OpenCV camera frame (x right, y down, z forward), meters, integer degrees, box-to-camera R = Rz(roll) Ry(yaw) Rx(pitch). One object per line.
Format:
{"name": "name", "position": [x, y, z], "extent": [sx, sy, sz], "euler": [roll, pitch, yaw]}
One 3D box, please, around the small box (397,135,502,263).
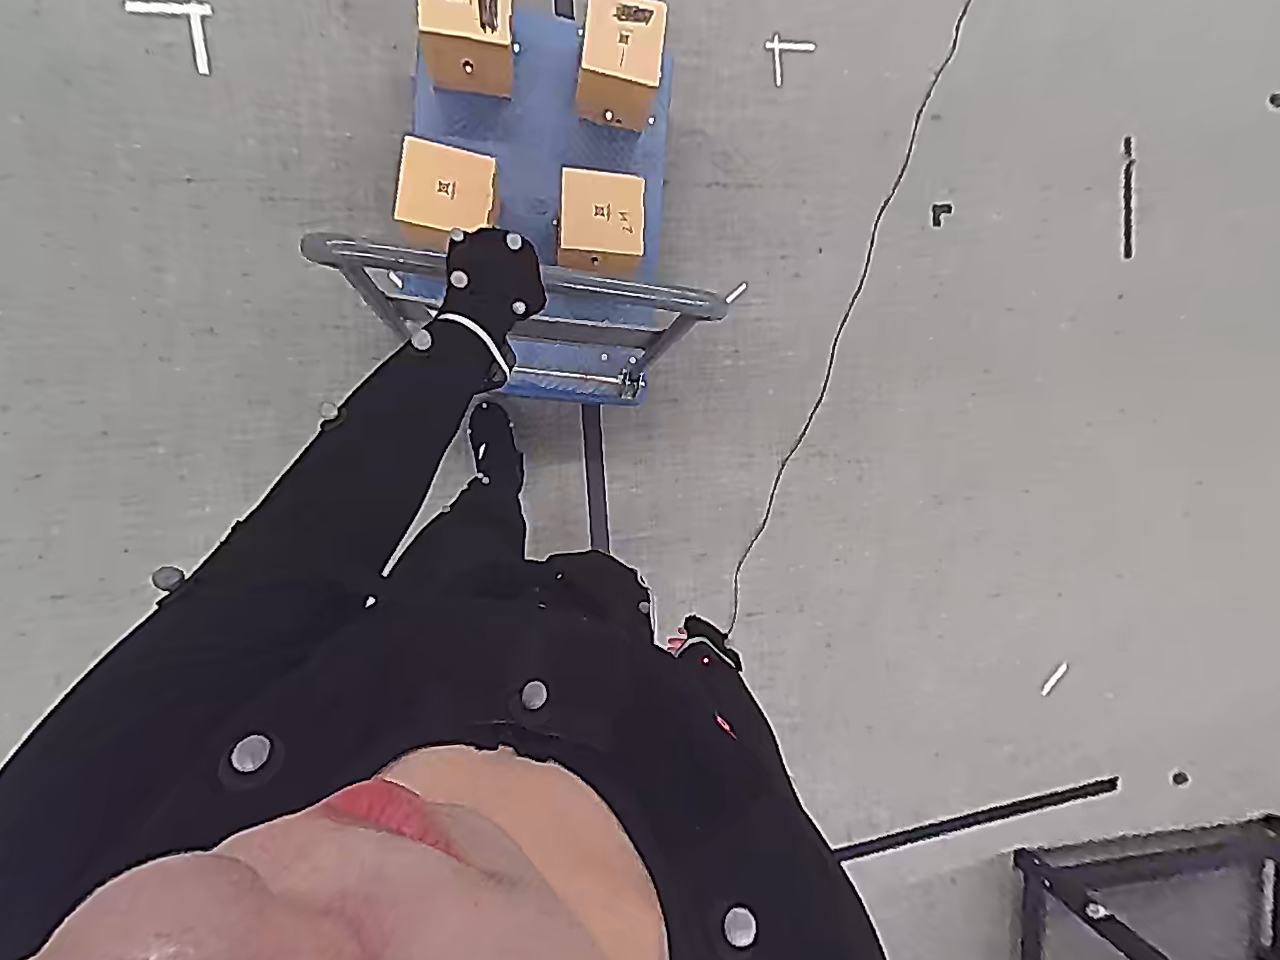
{"name": "small box", "position": [-0.391, -0.576, 1.134], "extent": [0.179, 0.176, 0.168], "euler": [7, 90, -13]}

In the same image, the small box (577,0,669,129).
{"name": "small box", "position": [-0.044, -0.925, 1.191], "extent": [0.168, 0.176, 0.179], "euler": [6, 92, -12]}

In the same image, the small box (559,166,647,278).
{"name": "small box", "position": [-0.088, -0.561, 1.196], "extent": [0.179, 0.176, 0.168], "euler": [1, 92, -11]}
